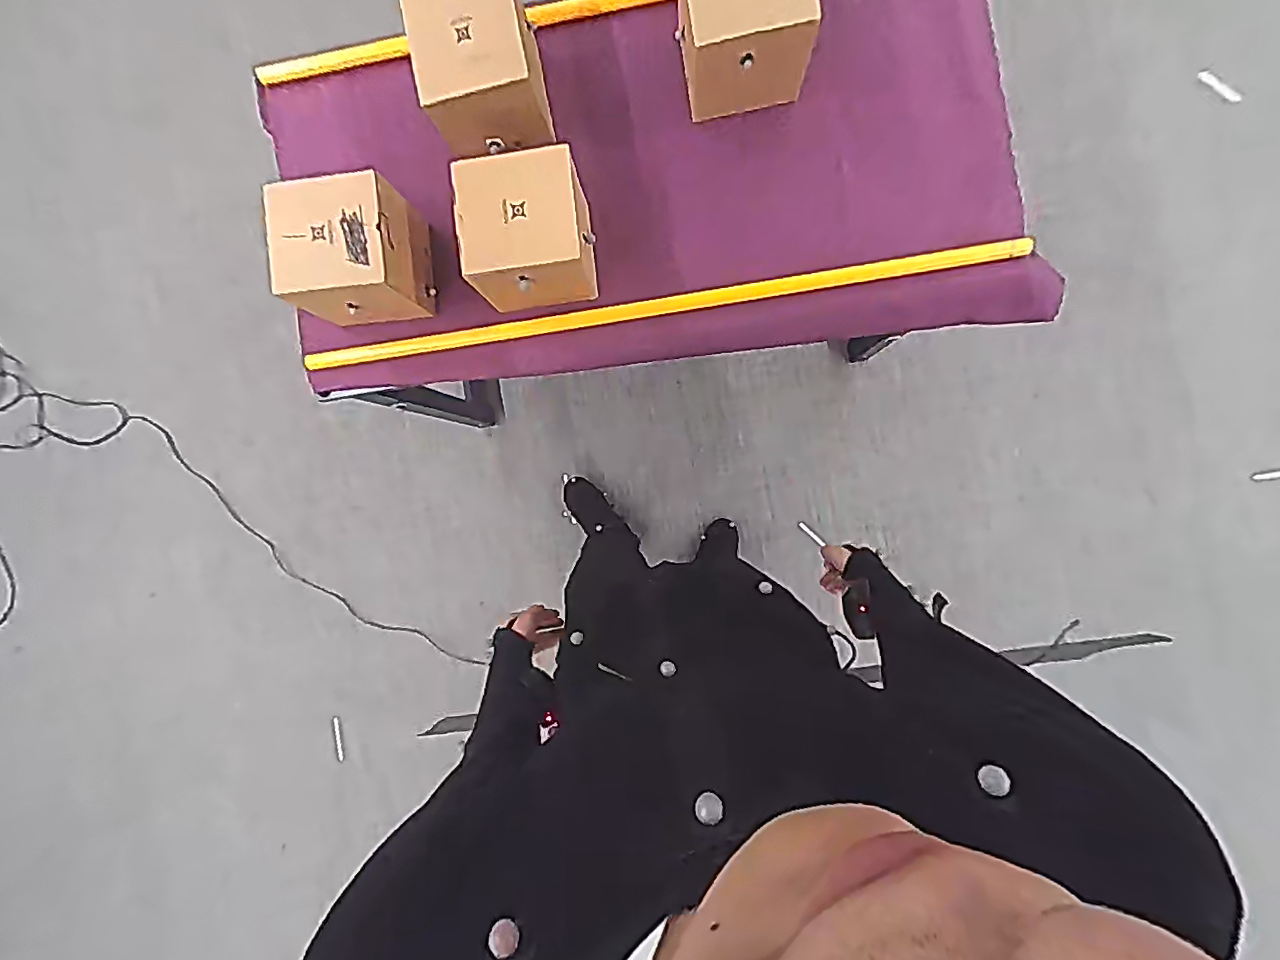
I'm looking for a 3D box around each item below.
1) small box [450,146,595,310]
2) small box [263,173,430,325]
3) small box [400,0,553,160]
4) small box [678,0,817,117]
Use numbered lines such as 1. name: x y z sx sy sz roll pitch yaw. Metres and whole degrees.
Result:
1. small box: -0.170 -0.379 0.842 0.179 0.176 0.168 -7 89 5
2. small box: -0.451 -0.355 0.861 0.179 0.176 0.168 -4 90 4
3. small box: -0.247 -0.638 0.846 0.168 0.176 0.179 -11 90 5
4. small box: 0.151 -0.686 0.813 0.179 0.176 0.168 -9 91 5
